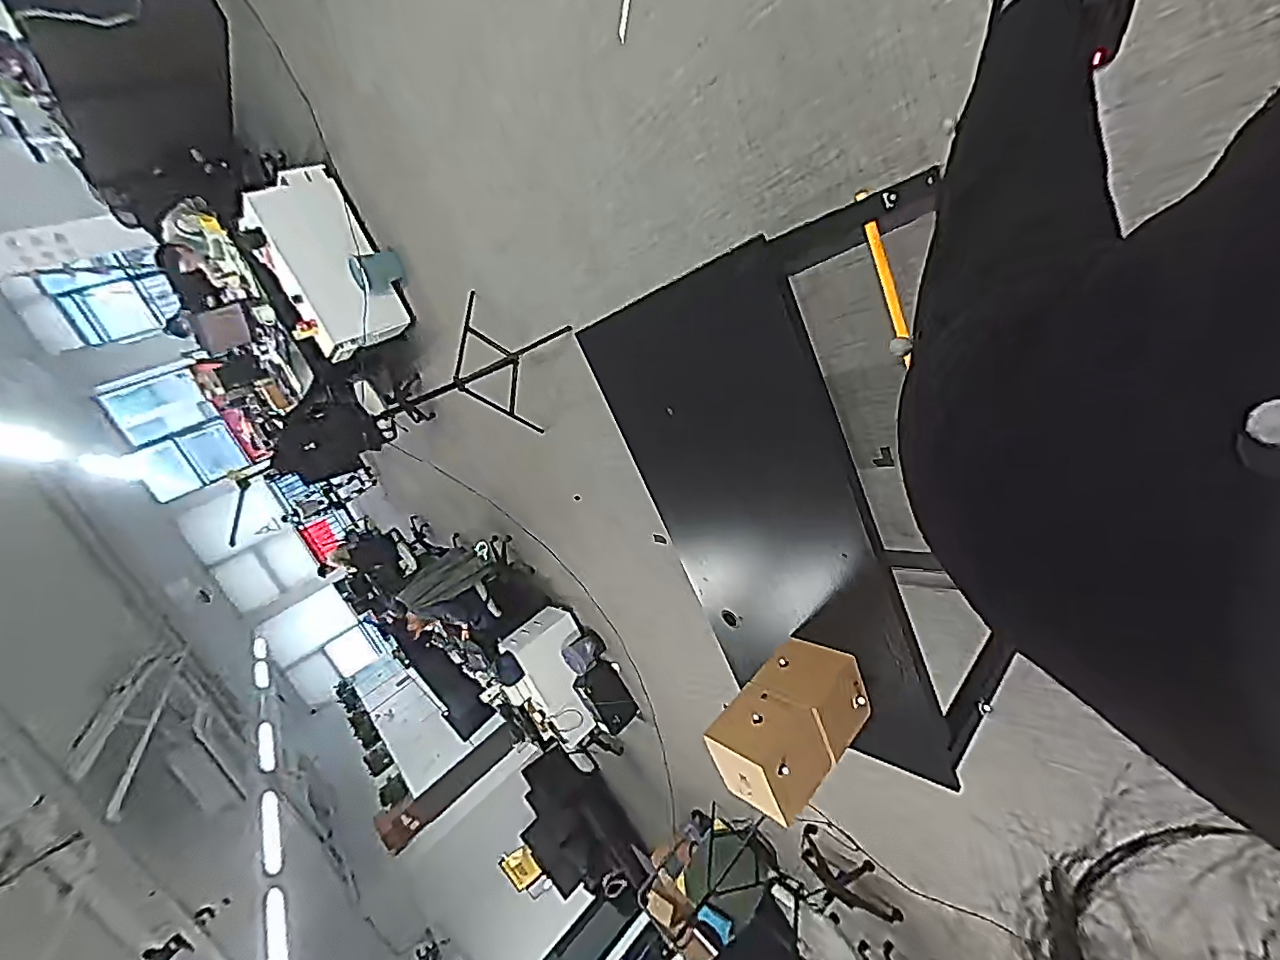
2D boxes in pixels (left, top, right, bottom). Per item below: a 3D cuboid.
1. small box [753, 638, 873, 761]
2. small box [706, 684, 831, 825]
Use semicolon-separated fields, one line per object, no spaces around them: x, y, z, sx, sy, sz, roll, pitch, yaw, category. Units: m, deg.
0.395;0.486;1.230;0.179;0.176;0.168;1;120;53;small box
0.276;0.571;1.151;0.168;0.176;0.179;2;122;54;small box
